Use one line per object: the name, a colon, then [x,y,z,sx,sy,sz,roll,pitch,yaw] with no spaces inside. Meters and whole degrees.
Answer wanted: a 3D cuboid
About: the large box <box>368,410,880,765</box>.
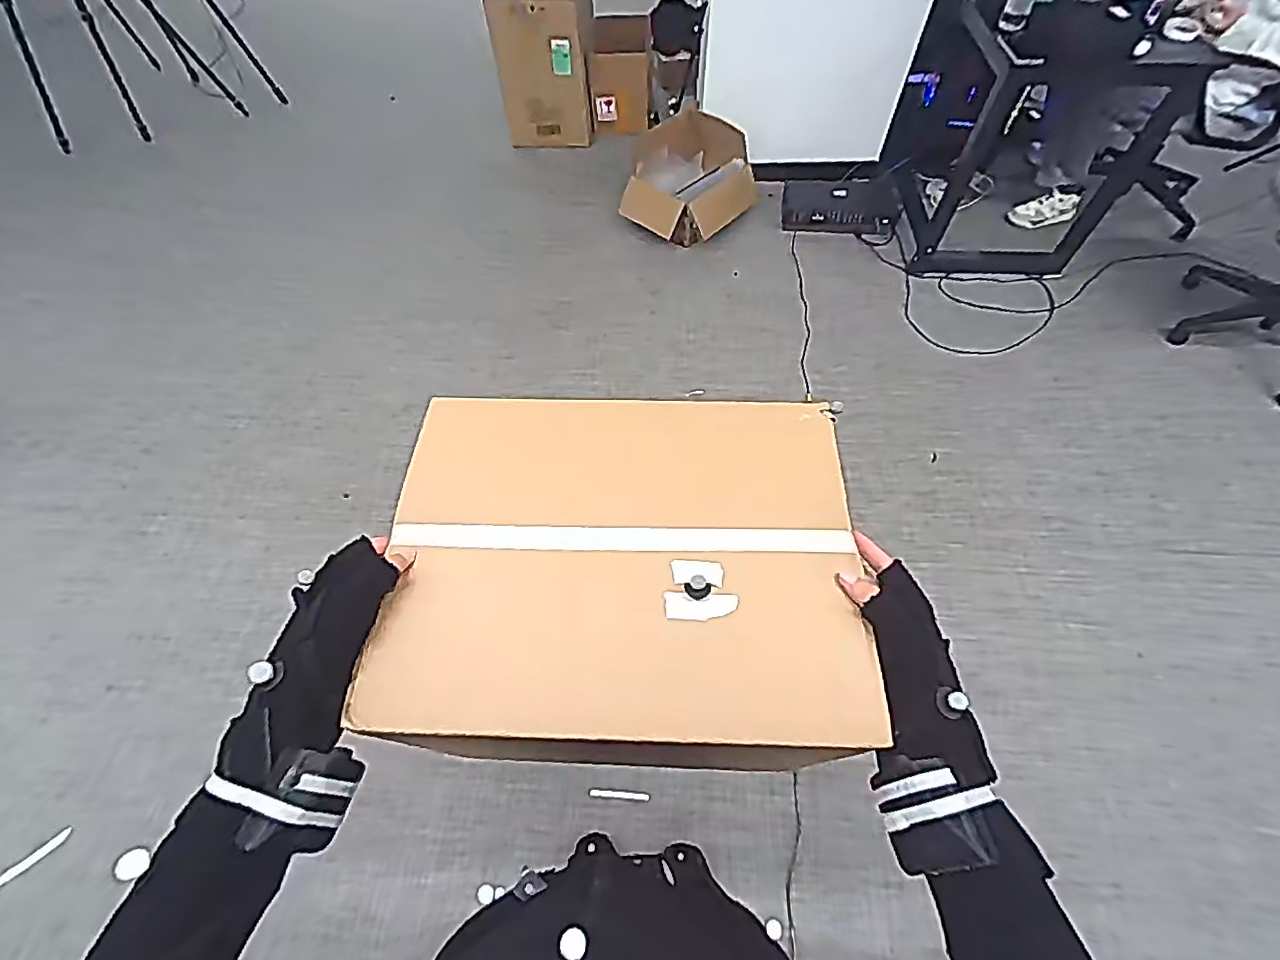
large box: [-0.010,0.137,0.616,0.408,0.320,0.320,1,59,2]
